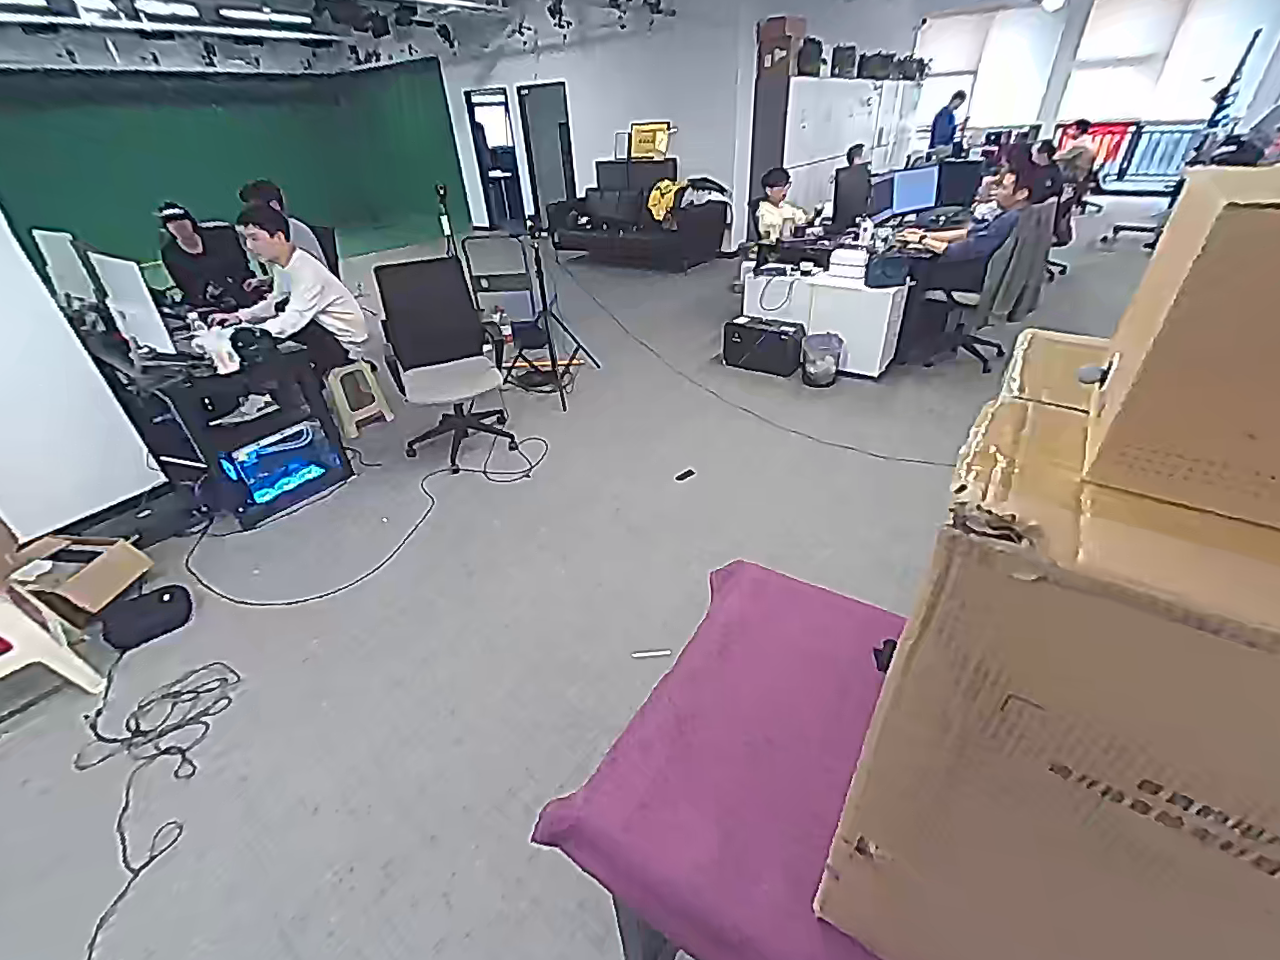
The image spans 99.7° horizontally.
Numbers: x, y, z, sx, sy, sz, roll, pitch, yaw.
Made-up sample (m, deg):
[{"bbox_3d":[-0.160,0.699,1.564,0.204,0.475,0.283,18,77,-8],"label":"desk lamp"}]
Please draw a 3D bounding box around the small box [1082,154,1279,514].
[{"bbox_3d":[0.402,-0.085,0.316,0.179,0.176,0.168,20,40,30],"label":"small box"}]
